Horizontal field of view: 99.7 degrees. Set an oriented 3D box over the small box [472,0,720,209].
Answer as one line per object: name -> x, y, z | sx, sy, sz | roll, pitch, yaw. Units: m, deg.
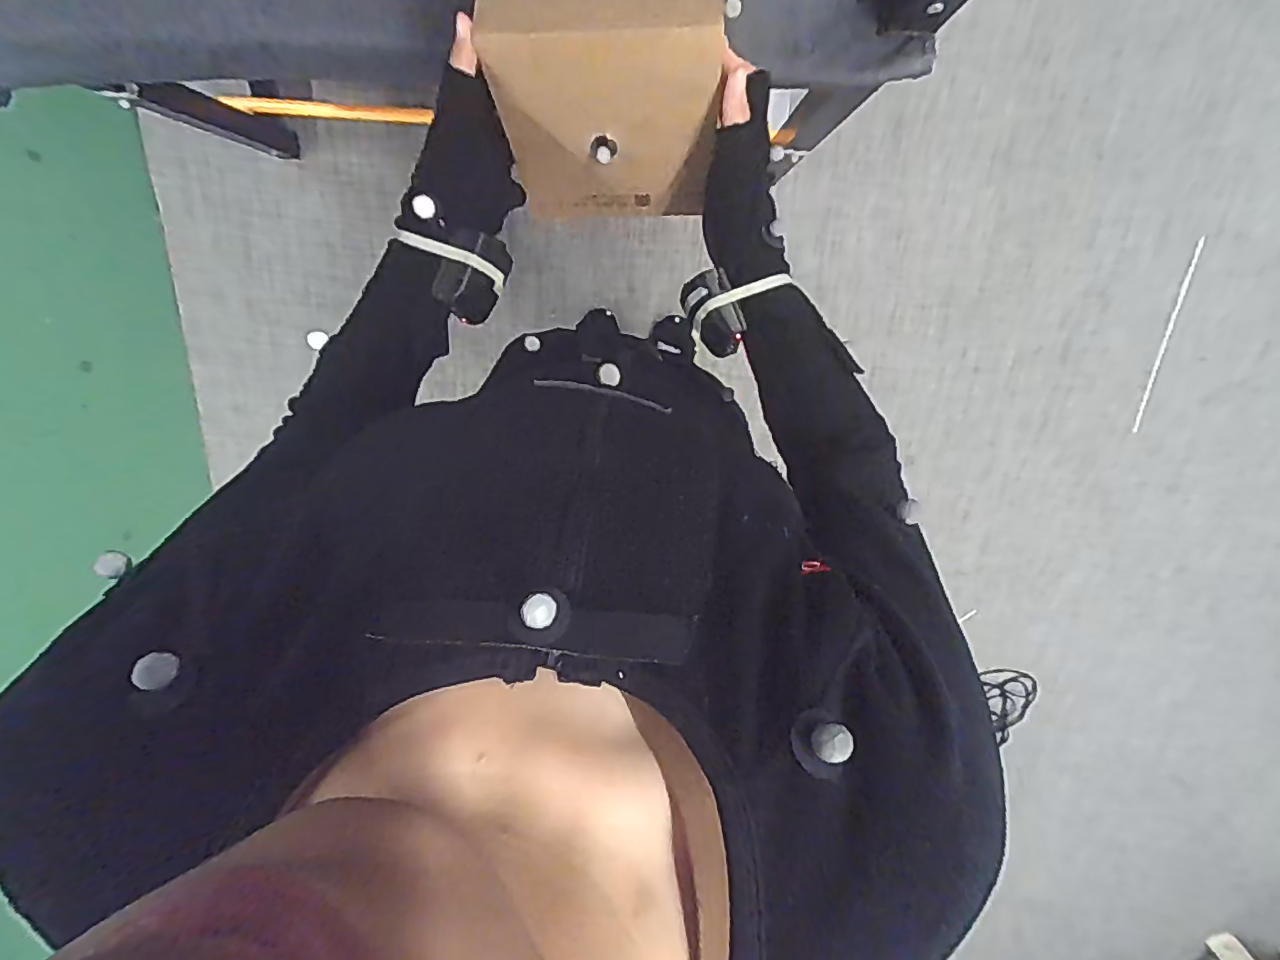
small box -> -0.020, -0.348, 0.443 | 0.168, 0.176, 0.179 | 1, 74, 4
